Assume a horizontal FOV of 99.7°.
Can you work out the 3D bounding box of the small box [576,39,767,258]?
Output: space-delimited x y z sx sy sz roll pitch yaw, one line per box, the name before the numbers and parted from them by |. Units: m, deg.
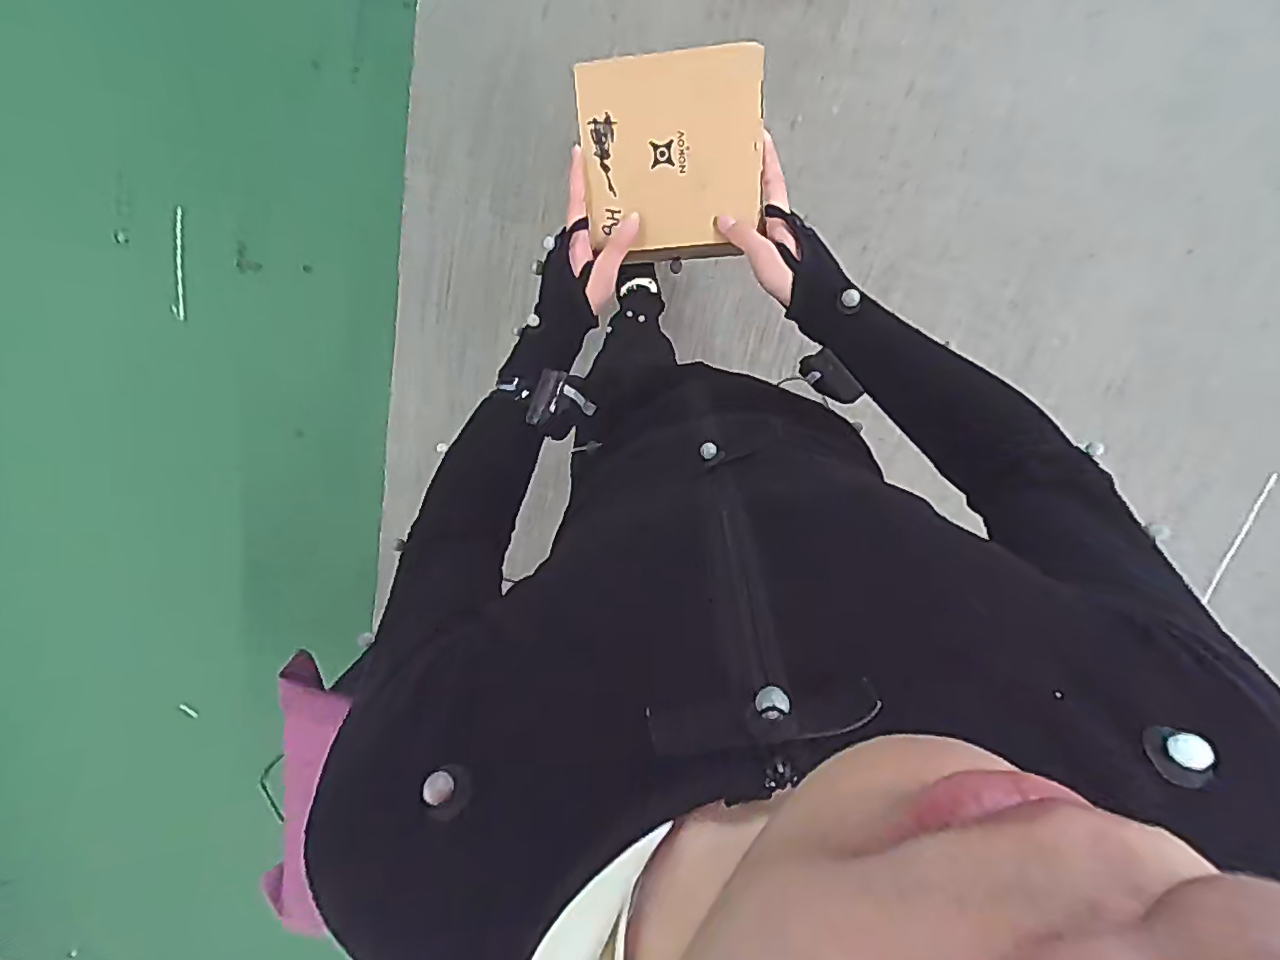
small box | 0.035 -0.339 0.588 0.179 0.176 0.168 -2 107 4
